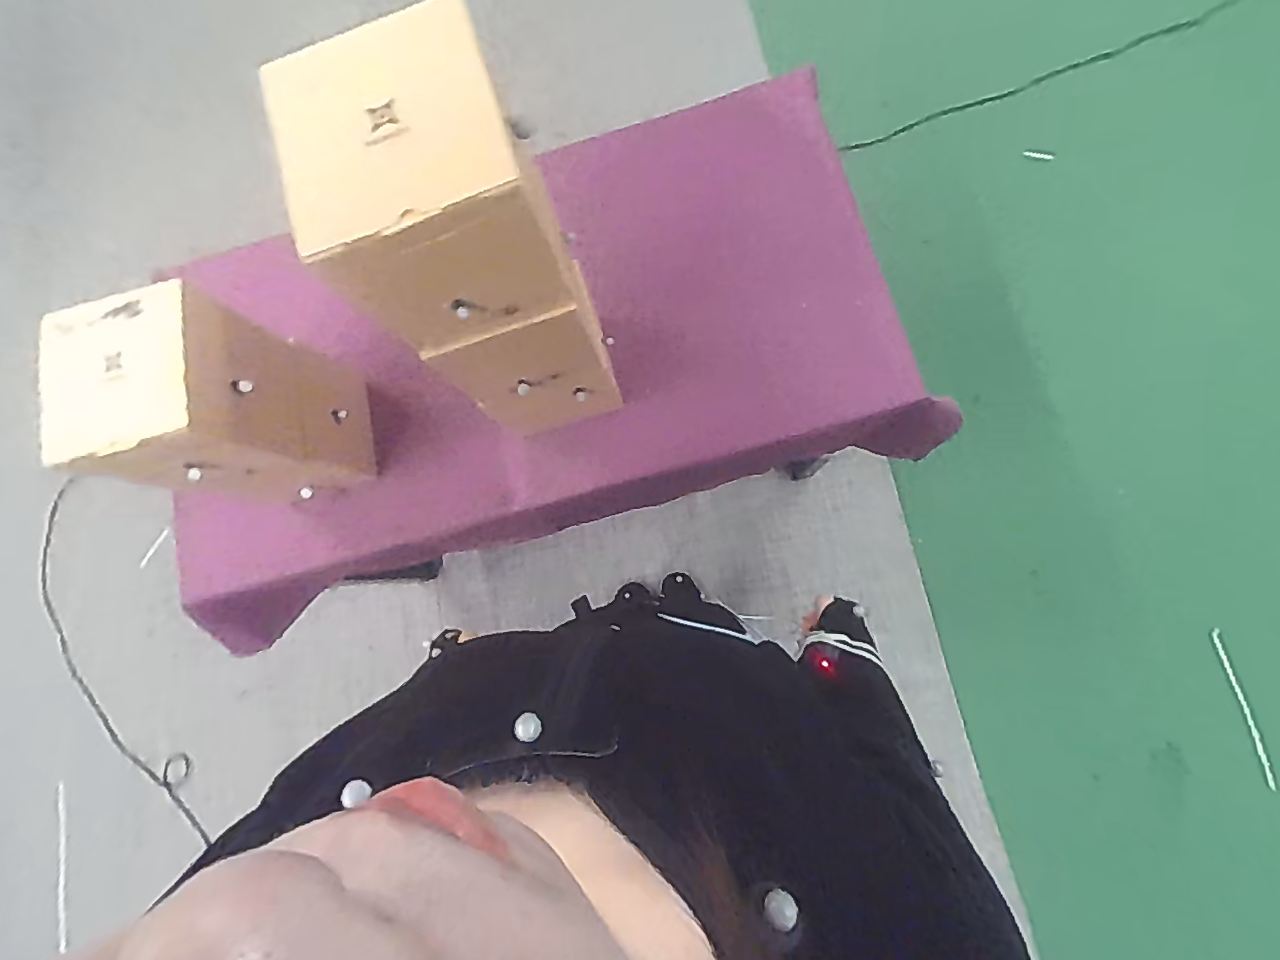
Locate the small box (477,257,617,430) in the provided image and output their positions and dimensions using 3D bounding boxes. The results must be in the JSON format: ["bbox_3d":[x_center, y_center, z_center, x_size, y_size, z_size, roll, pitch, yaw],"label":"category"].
[{"bbox_3d":[-0.137,-0.187,0.791,0.179,0.176,0.168,-16,79,3],"label":"small box"}]

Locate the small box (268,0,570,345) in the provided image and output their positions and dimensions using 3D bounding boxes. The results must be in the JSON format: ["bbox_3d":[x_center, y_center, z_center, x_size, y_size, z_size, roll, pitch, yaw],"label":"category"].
[{"bbox_3d":[-0.175,-0.249,0.473,0.168,0.176,0.179,-19,80,3],"label":"small box"}]

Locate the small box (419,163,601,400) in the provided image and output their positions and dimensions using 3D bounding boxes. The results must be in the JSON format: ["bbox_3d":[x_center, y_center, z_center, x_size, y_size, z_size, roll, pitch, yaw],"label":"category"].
[{"bbox_3d":[-0.154,-0.217,0.631,0.168,0.176,0.179,-17,80,3],"label":"small box"}]

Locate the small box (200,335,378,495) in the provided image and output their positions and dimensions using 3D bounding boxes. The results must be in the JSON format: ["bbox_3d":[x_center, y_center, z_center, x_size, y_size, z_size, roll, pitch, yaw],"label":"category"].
[{"bbox_3d":[-0.523,-0.087,0.811,0.168,0.176,0.179,-14,80,3],"label":"small box"}]

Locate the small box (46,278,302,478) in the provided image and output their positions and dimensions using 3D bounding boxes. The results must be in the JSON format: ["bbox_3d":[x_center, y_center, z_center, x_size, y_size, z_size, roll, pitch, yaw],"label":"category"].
[{"bbox_3d":[-0.540,-0.106,0.649,0.168,0.176,0.179,-13,80,2],"label":"small box"}]
